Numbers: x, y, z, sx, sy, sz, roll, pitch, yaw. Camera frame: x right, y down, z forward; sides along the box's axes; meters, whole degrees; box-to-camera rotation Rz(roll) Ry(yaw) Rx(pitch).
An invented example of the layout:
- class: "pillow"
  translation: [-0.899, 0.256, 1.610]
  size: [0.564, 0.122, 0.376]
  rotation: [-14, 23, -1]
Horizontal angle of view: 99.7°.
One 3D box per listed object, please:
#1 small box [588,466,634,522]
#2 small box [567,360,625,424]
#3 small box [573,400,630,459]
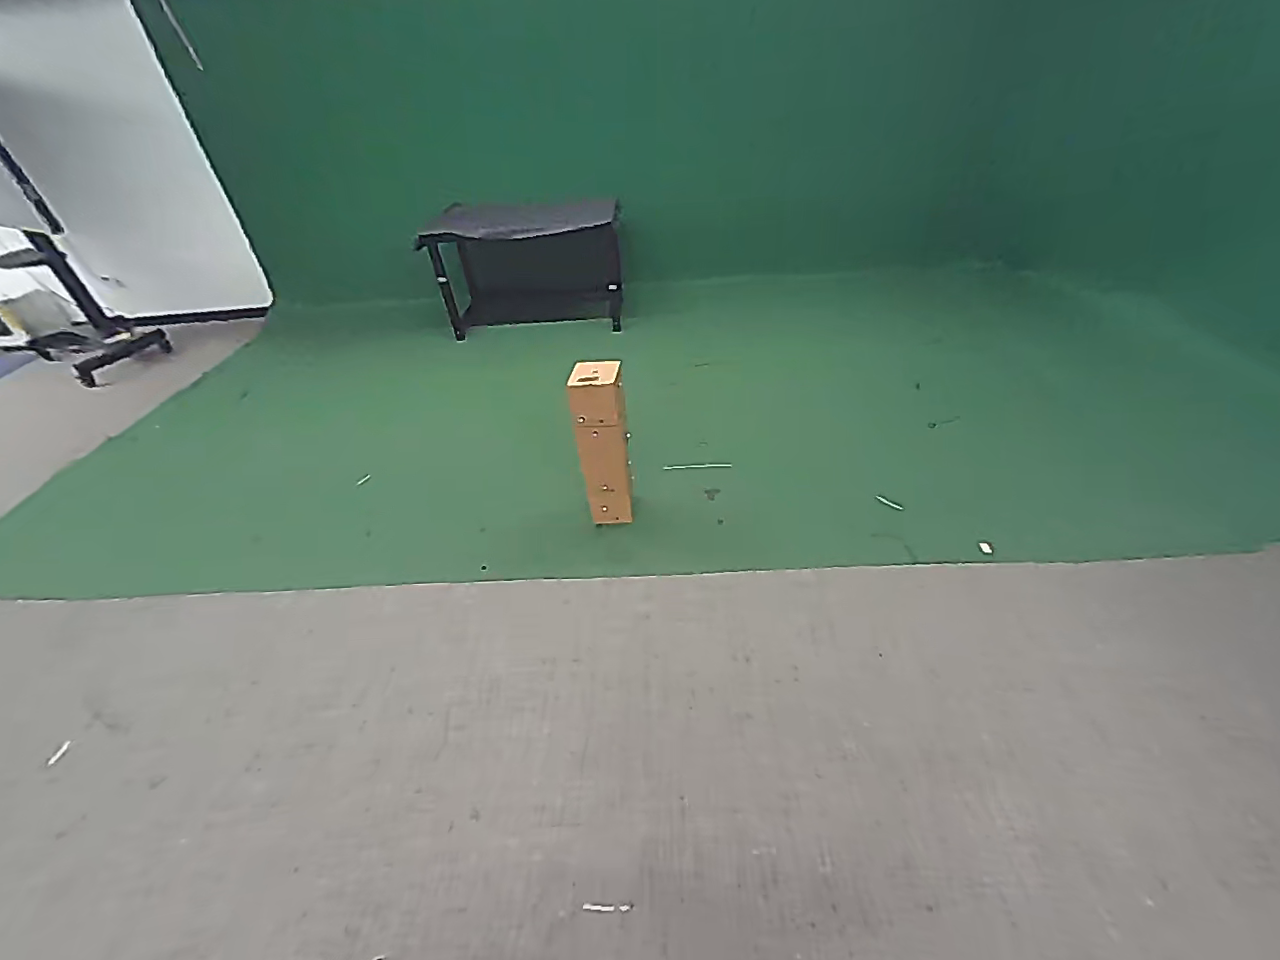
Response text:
- class: "small box"
  translation: [-0.116, 0.062, 2.252]
  size: [0.168, 0.176, 0.179]
  rotation: [-3, 38, 5]
- class: "small box"
  translation: [-0.150, -0.312, 1.932]
  size: [0.168, 0.176, 0.179]
  rotation: [0, 38, 9]
- class: "small box"
  translation: [-0.140, -0.191, 2.043]
  size: [0.179, 0.176, 0.168]
  rotation: [-1, 39, 7]
